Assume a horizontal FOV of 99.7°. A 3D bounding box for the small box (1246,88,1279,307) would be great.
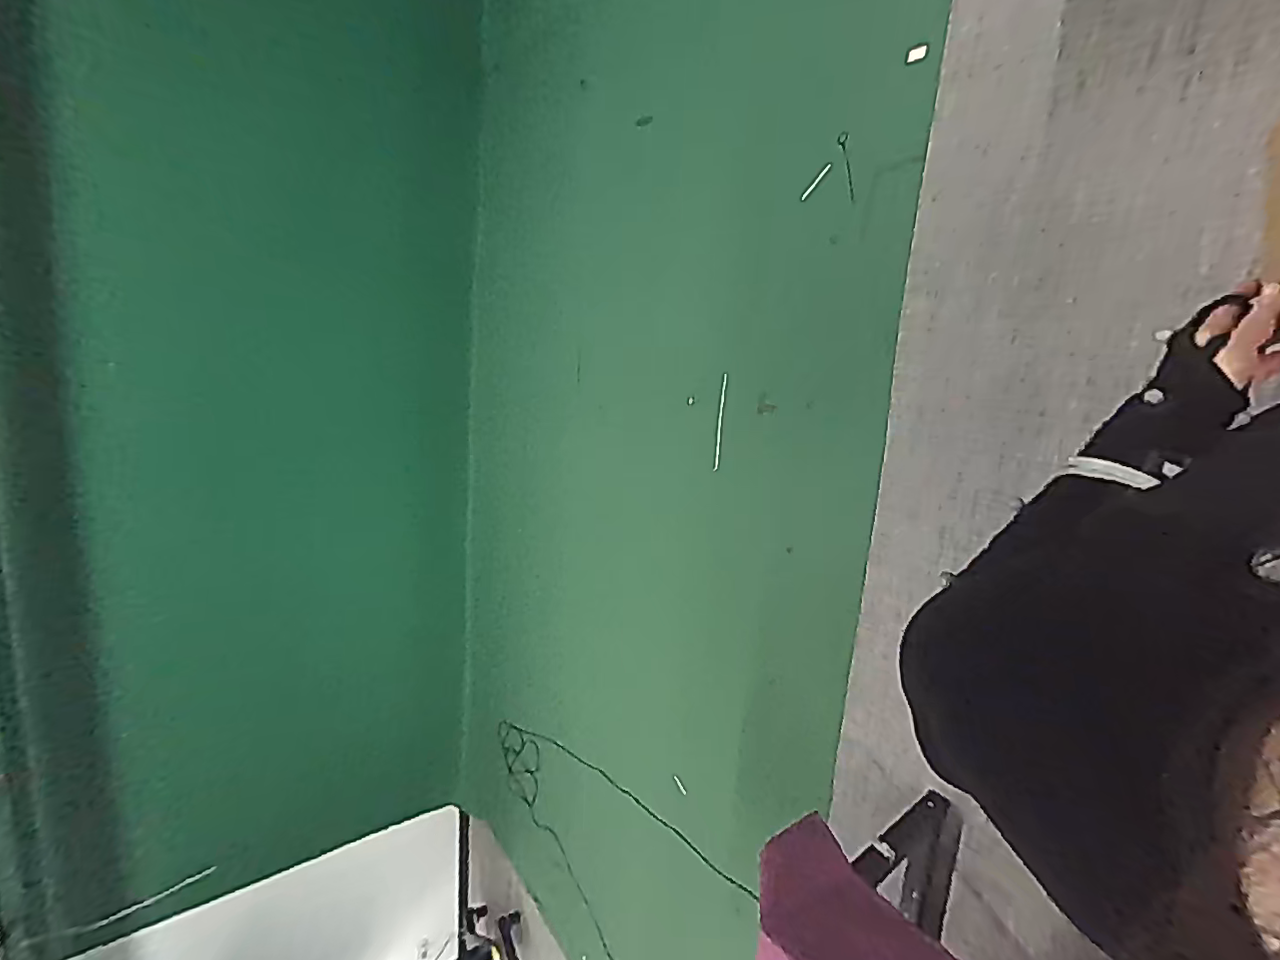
[{"bbox_3d":[0.531,-0.213,0.336,0.168,0.176,0.179,2,91,31],"label":"small box"}]
